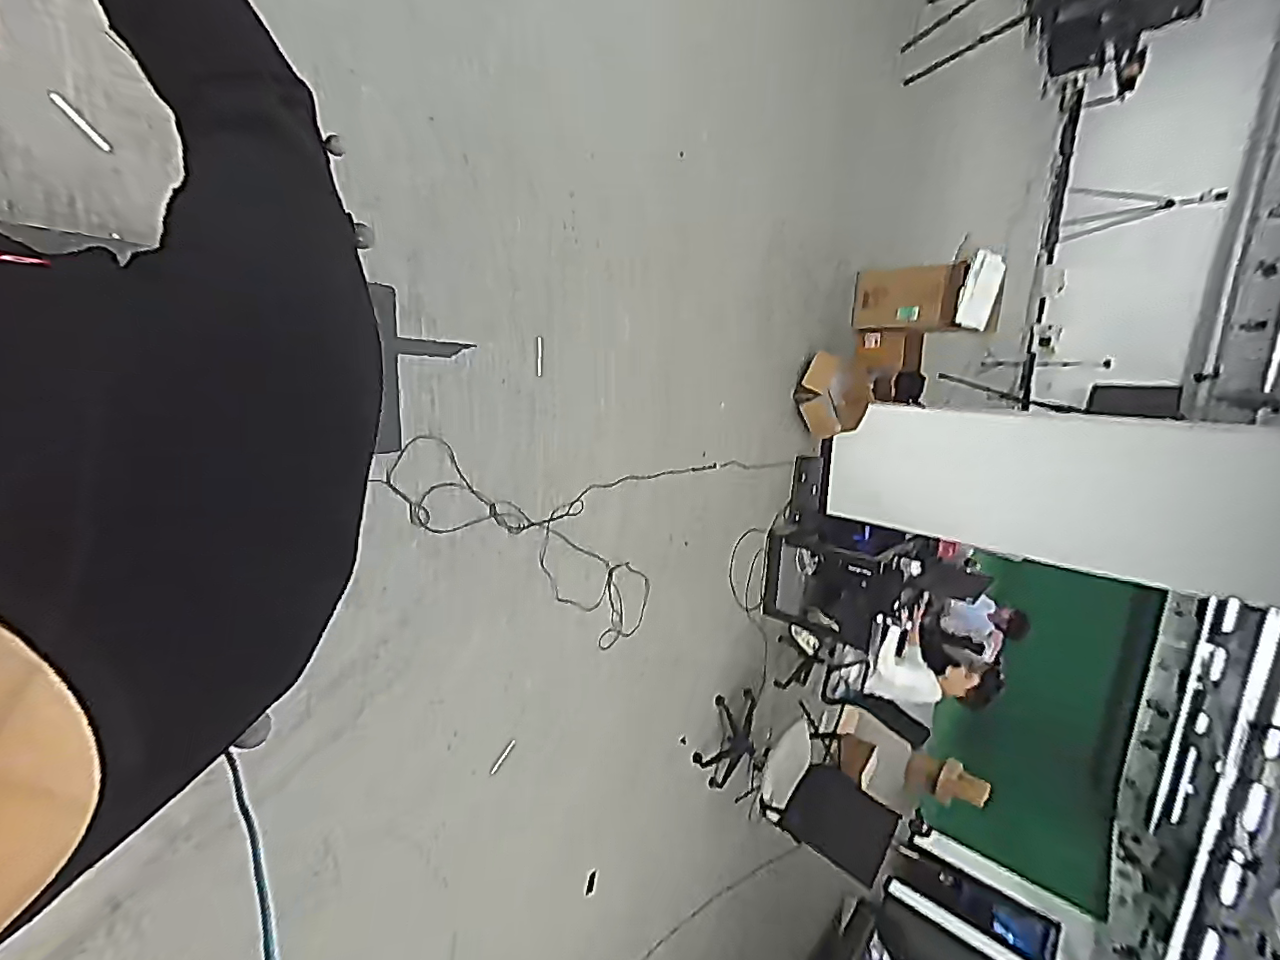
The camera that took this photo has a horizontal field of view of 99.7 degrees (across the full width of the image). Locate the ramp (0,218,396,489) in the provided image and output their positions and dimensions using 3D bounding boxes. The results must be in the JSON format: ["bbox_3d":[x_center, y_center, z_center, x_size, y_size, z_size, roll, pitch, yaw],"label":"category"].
[{"bbox_3d":[-1.019,-0.268,1.215,0.991,0.206,0.509,-12,107,-46],"label":"ramp"}]
